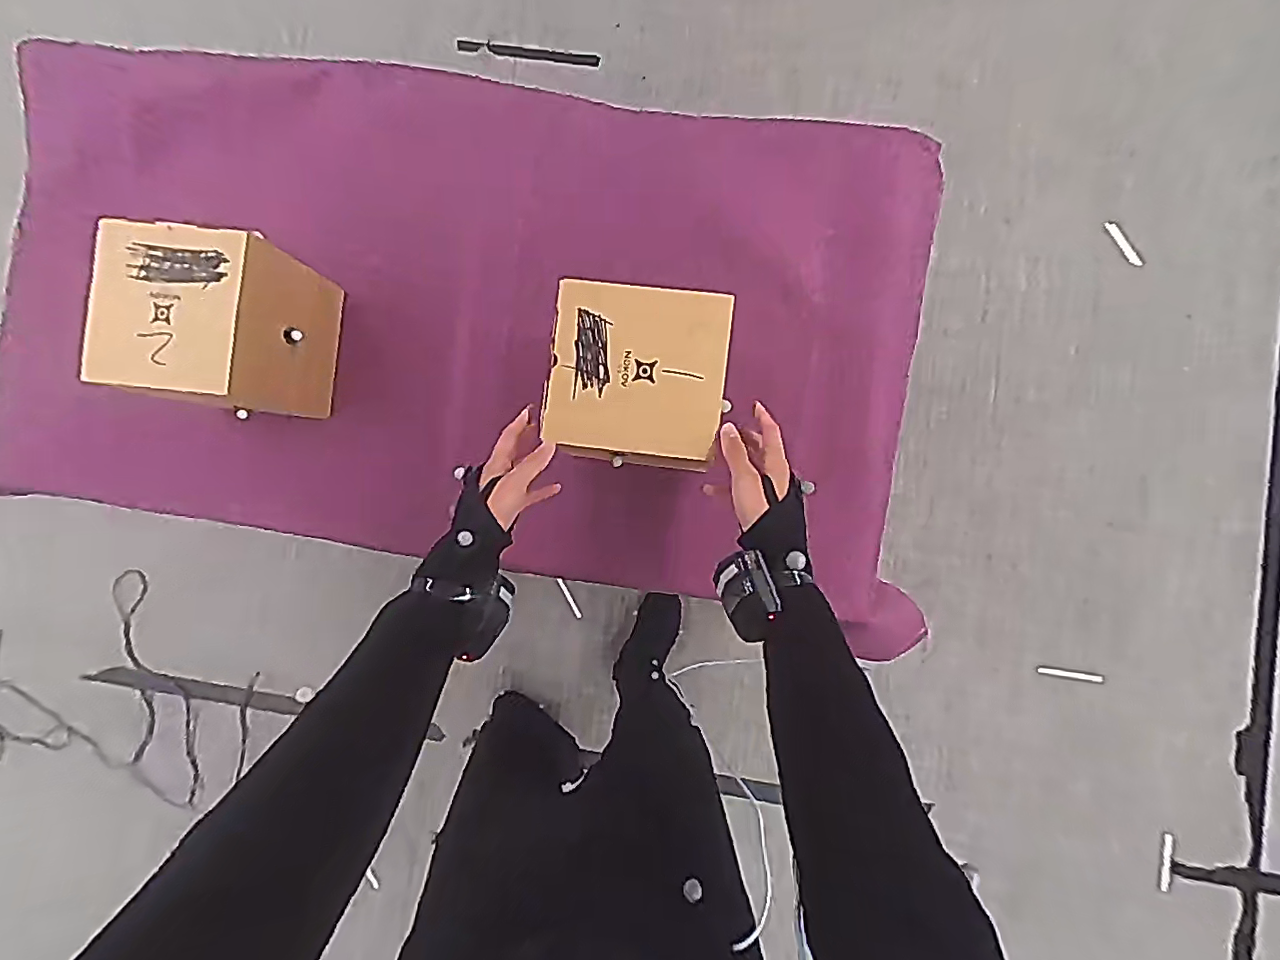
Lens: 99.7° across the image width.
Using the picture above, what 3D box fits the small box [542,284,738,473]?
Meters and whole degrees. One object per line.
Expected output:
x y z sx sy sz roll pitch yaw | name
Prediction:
0.004 -0.100 0.607 0.179 0.176 0.168 7 88 4 | small box
